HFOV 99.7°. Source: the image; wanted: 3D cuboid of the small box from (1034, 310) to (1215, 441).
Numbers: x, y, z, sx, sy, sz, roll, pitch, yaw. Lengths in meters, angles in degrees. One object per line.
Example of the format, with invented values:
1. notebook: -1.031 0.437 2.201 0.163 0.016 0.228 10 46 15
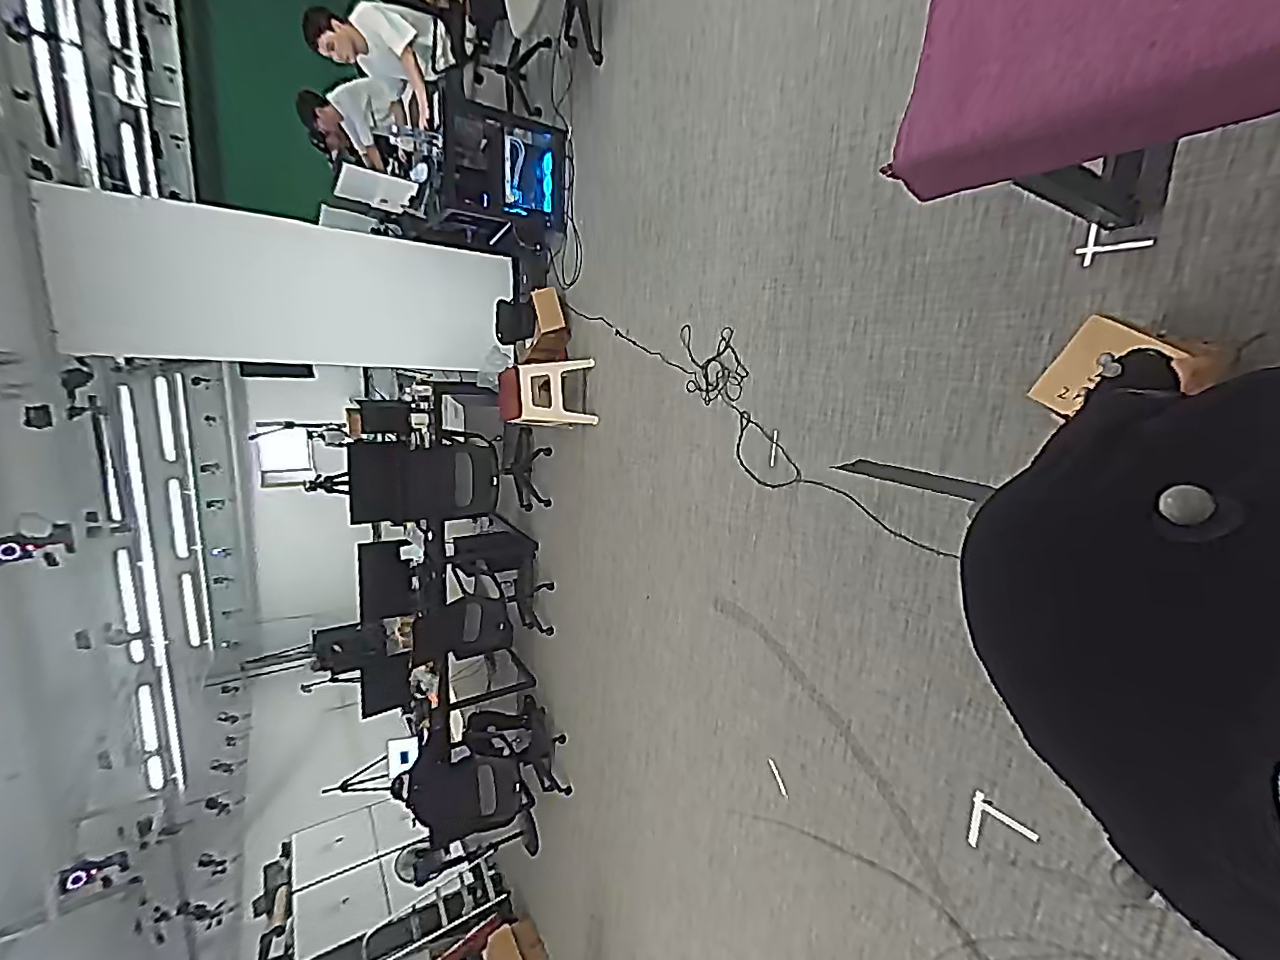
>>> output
1. small box: 0.893 -0.192 0.996 0.168 0.176 0.179 54 137 38
